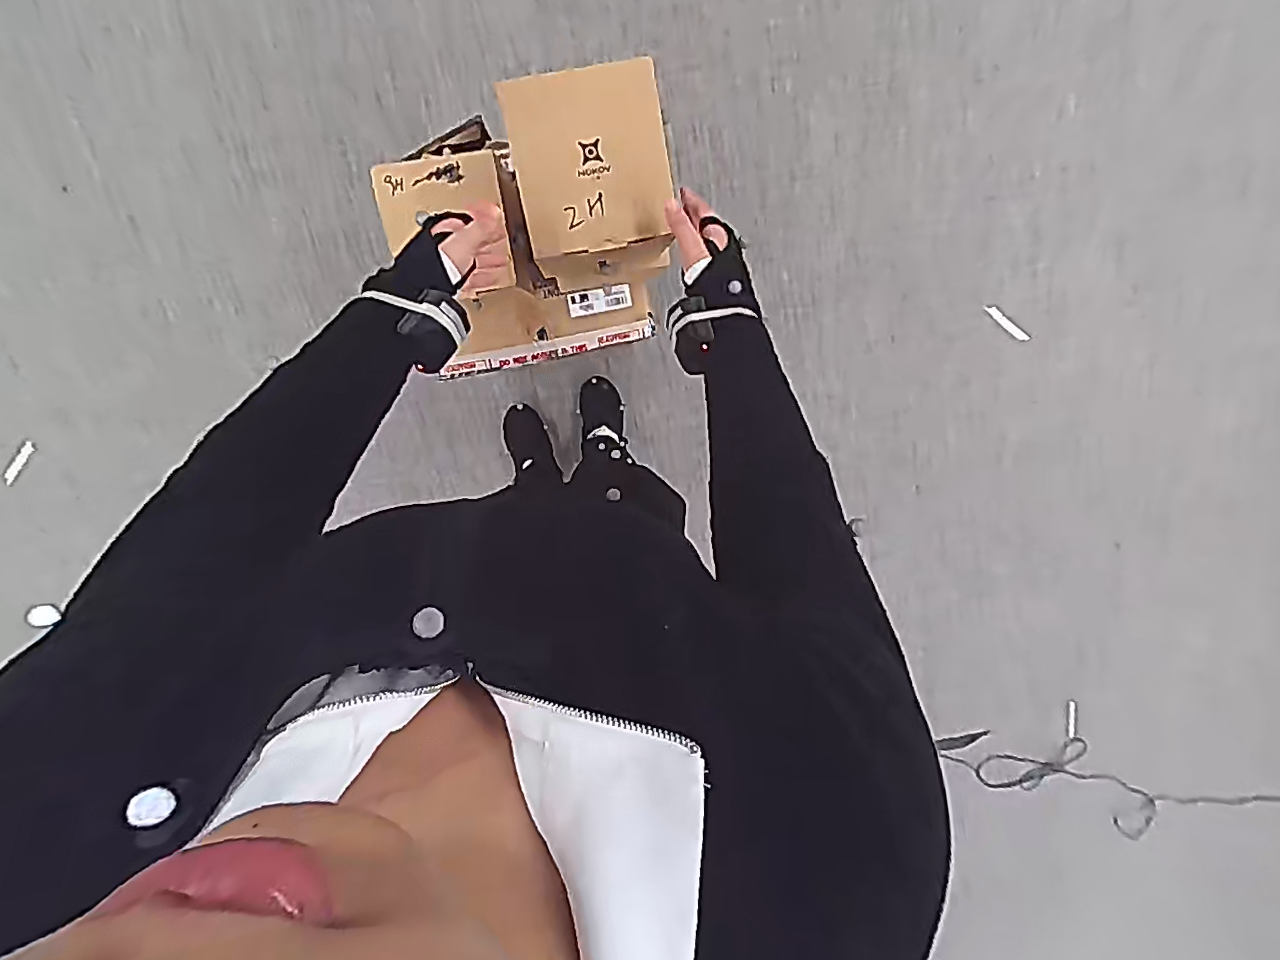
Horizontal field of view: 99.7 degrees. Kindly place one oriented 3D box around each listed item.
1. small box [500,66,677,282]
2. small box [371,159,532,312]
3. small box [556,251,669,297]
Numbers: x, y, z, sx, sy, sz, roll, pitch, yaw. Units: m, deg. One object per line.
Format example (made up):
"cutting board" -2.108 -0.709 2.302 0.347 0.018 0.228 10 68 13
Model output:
"small box" -0.061 -0.352 0.655 0.168 0.176 0.179 -12 105 -3
"small box" -0.266 -0.352 0.809 0.168 0.176 0.179 -8 106 -1
"small box" -0.059 -0.384 0.818 0.168 0.176 0.179 -10 106 -3
